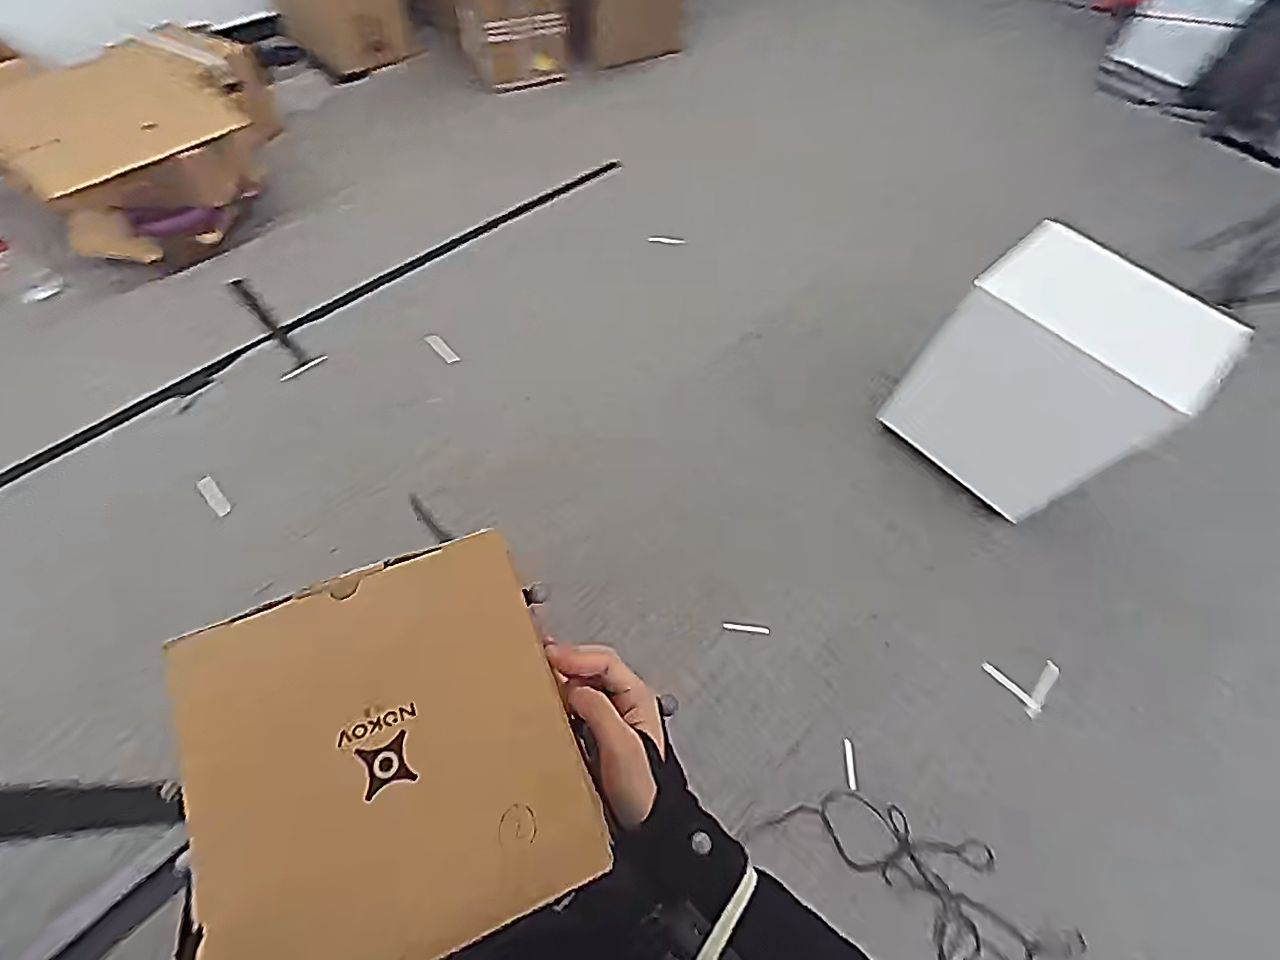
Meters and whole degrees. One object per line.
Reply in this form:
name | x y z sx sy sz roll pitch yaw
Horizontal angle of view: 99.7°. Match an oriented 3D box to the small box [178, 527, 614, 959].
small box | -0.124 0.151 0.330 0.168 0.176 0.179 -19 74 -13
